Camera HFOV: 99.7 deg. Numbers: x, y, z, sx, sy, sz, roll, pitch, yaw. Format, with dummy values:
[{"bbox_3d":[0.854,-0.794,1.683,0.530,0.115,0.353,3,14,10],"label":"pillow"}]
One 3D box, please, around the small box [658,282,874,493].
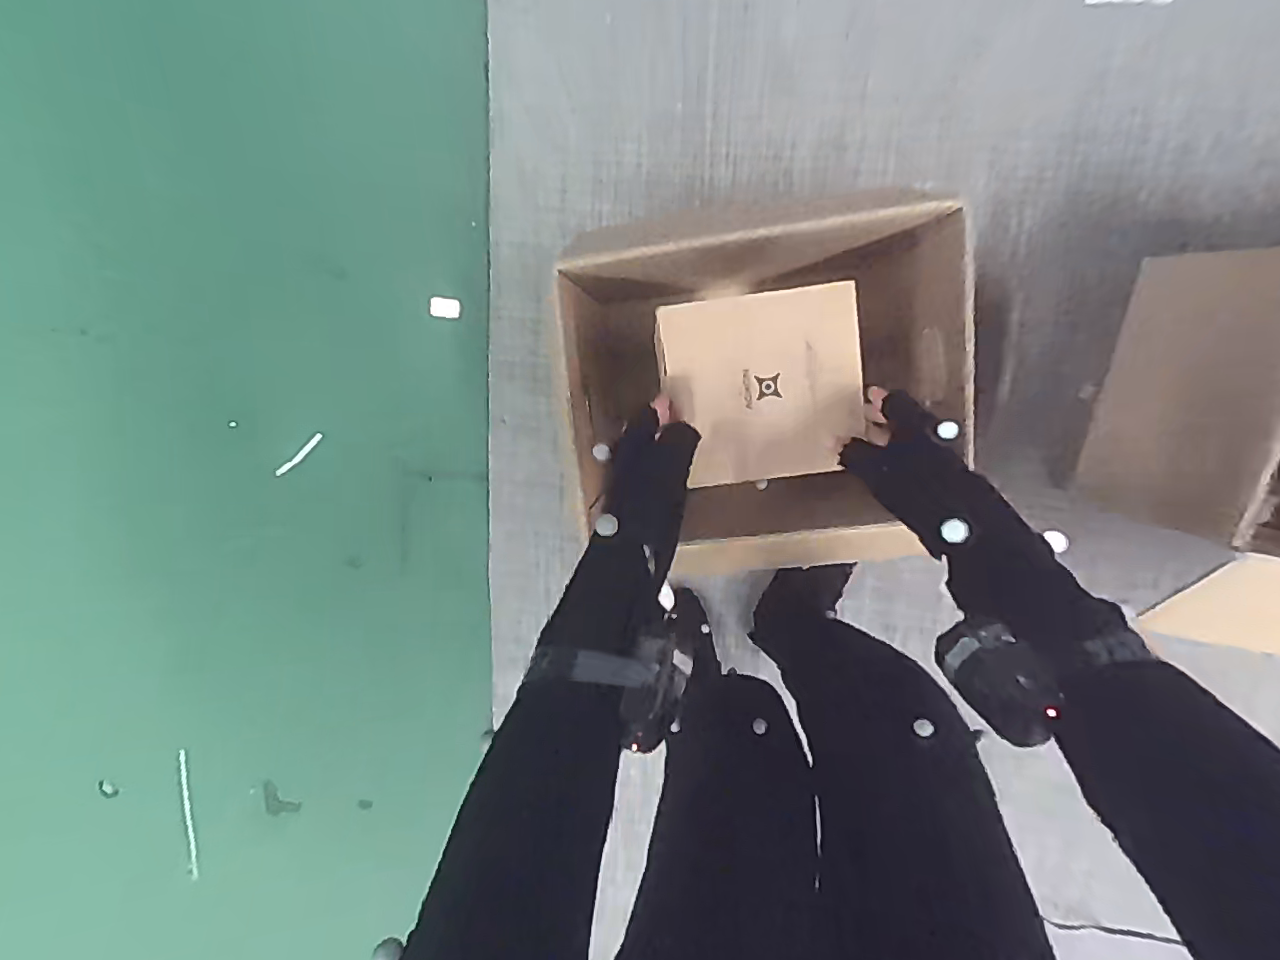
[{"bbox_3d":[0.114,-0.090,0.556,0.179,0.176,0.168,-9,99,1],"label":"small box"}]
